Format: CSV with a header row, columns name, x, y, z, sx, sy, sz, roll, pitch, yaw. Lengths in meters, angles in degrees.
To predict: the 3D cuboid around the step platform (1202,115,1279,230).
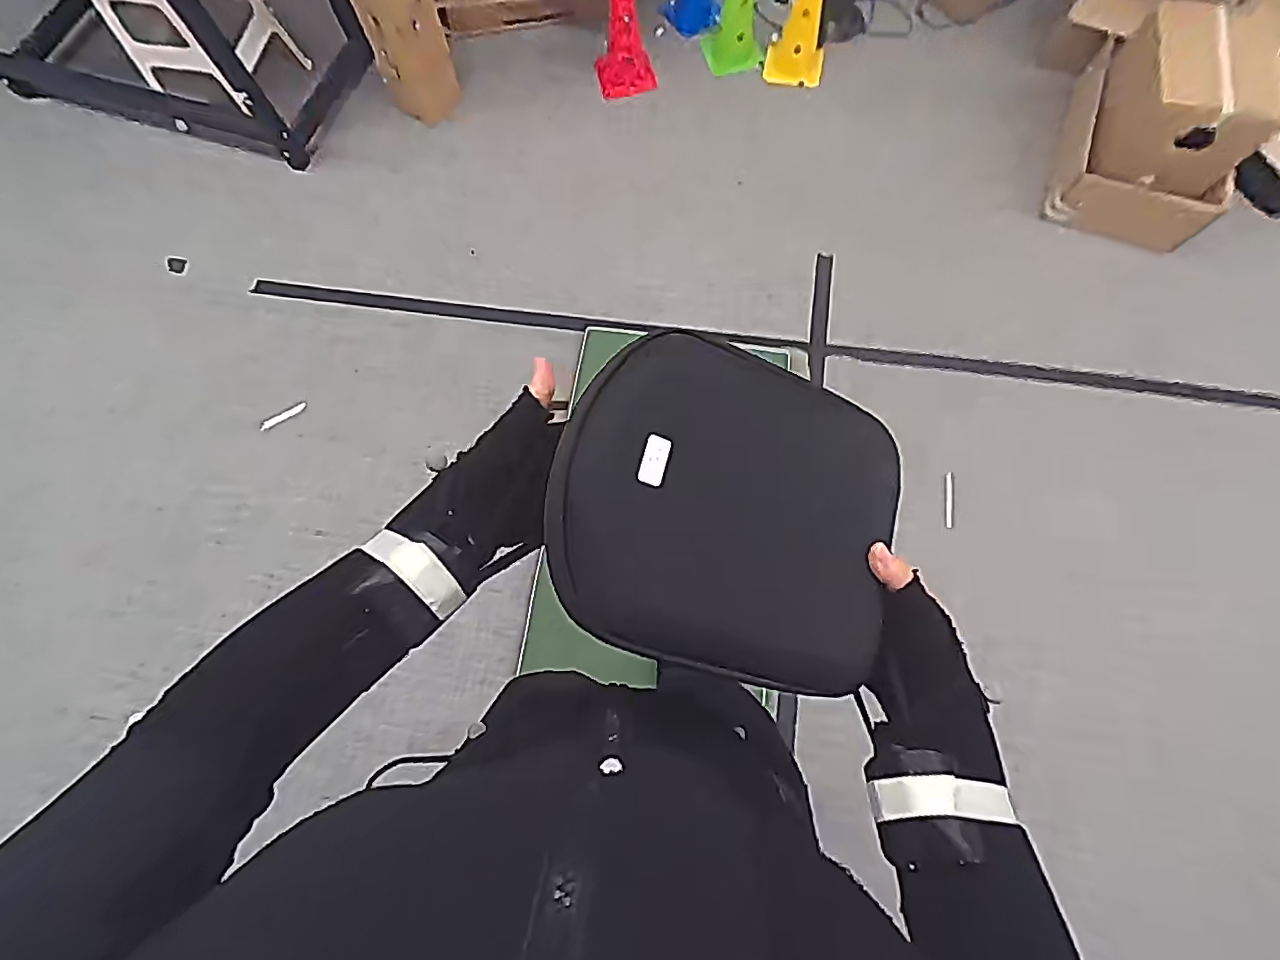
name,x,y,z,sx,sy,sz,roll,pitch,yaw
step platform,2.222,-1.047,1.711,0.684,0.204,0.286,-20,73,-5
